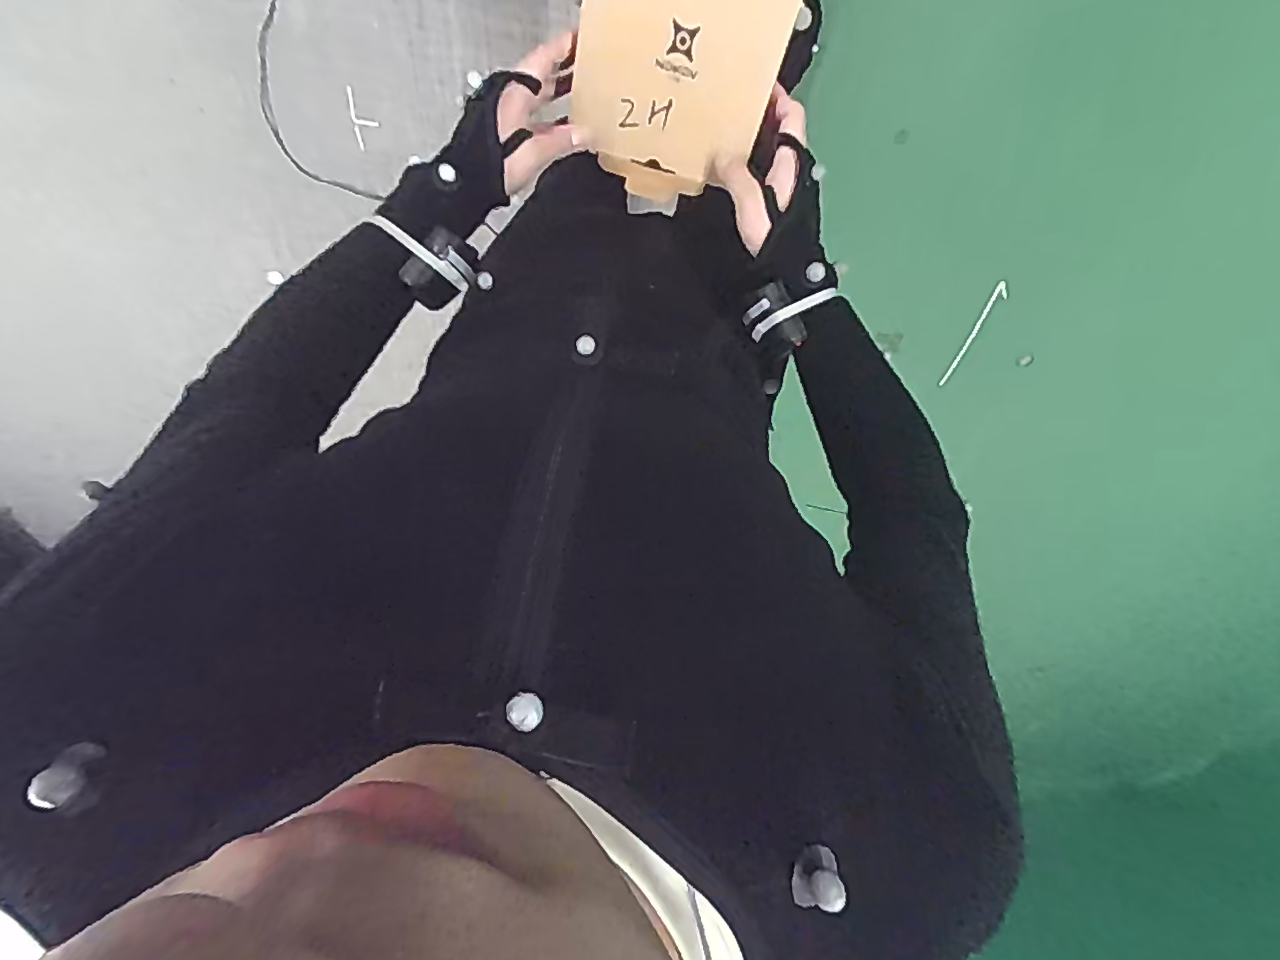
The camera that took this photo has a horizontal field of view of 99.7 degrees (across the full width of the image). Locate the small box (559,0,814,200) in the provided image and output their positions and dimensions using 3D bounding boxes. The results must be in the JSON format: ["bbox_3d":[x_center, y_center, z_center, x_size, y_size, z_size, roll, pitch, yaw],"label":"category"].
[{"bbox_3d":[0.040,-0.400,0.491,0.168,0.176,0.179,19,136,-9],"label":"small box"}]
